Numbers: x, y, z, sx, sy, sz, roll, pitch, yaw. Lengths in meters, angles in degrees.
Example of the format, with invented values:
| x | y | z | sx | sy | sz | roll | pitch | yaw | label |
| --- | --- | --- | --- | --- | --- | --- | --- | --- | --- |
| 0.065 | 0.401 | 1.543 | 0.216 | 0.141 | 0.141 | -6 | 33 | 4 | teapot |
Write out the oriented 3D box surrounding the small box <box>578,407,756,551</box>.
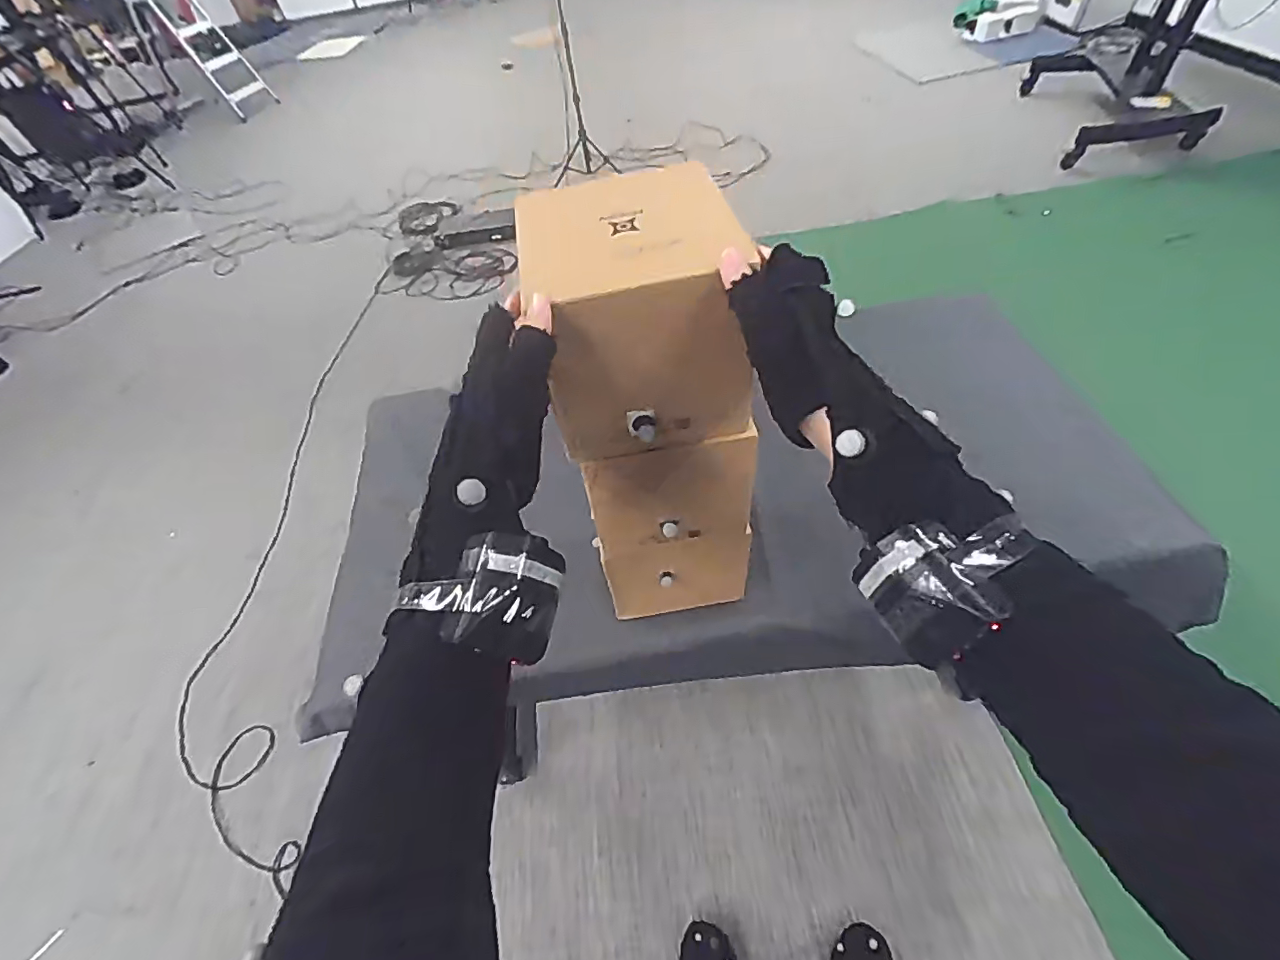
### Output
| x | y | z | sx | sy | sz | roll | pitch | yaw | label |
| --- | --- | --- | --- | --- | --- | --- | --- | --- | --- |
| 0.022 | -0.045 | 0.602 | 0.168 | 0.176 | 0.179 | -8 | 52 | 0 | small box |

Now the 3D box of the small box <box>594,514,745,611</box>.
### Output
| x | y | z | sx | sy | sz | roll | pitch | yaw | label |
| --- | --- | --- | --- | --- | --- | --- | --- | --- | --- |
| 0.036 | 0.061 | 0.728 | 0.179 | 0.176 | 0.168 | -9 | 51 | 0 | small box |

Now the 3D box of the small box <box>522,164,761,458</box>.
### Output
| x | y | z | sx | sy | sz | roll | pitch | yaw | label |
| --- | --- | --- | --- | --- | --- | --- | --- | --- | --- |
| -0.002 | -0.146 | 0.477 | 0.168 | 0.176 | 0.179 | -10 | 52 | -1 | small box |
